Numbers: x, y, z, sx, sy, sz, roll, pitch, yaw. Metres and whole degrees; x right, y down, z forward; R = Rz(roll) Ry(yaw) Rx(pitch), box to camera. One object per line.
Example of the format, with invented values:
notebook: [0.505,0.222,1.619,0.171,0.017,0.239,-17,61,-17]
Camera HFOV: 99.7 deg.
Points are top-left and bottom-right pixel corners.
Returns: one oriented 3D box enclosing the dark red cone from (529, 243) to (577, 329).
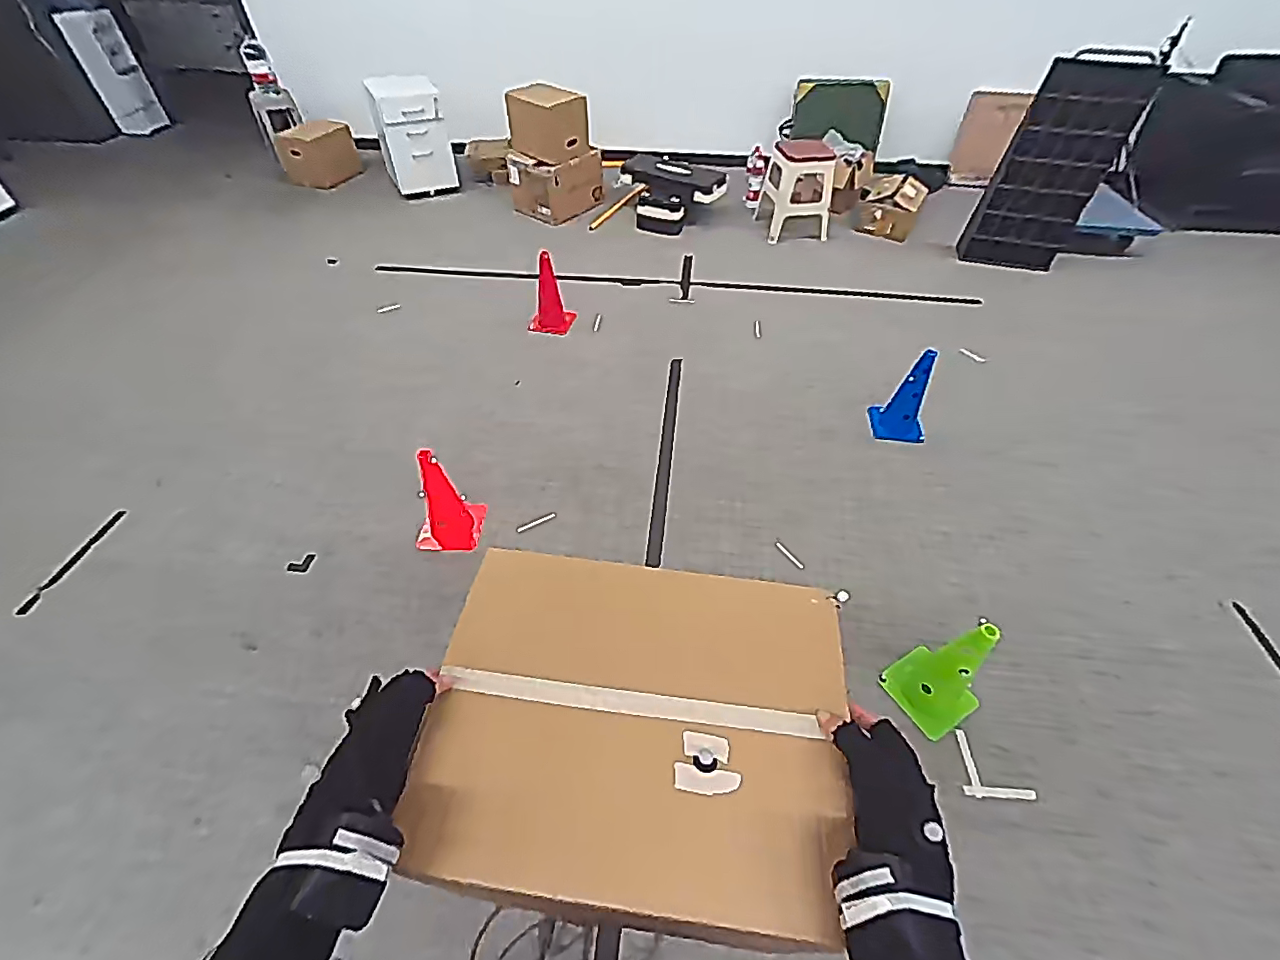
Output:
dark red cone: [-0.425,-0.923,2.569,0.201,0.394,0.202,10,48,7]

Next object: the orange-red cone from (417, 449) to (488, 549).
orange-red cone: [-0.634,0.039,1.720,0.198,0.360,0.199,3,49,3]

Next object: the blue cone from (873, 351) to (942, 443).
blue cone: [1.071,-0.336,2.113,0.192,0.380,0.193,8,48,5]

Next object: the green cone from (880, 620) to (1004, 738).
green cone: [0.799,0.461,1.357,0.202,0.368,0.200,-23,53,-22]

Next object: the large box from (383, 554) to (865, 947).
large box: [-0.005,0.319,0.642,0.408,0.320,0.320,7,49,4]
